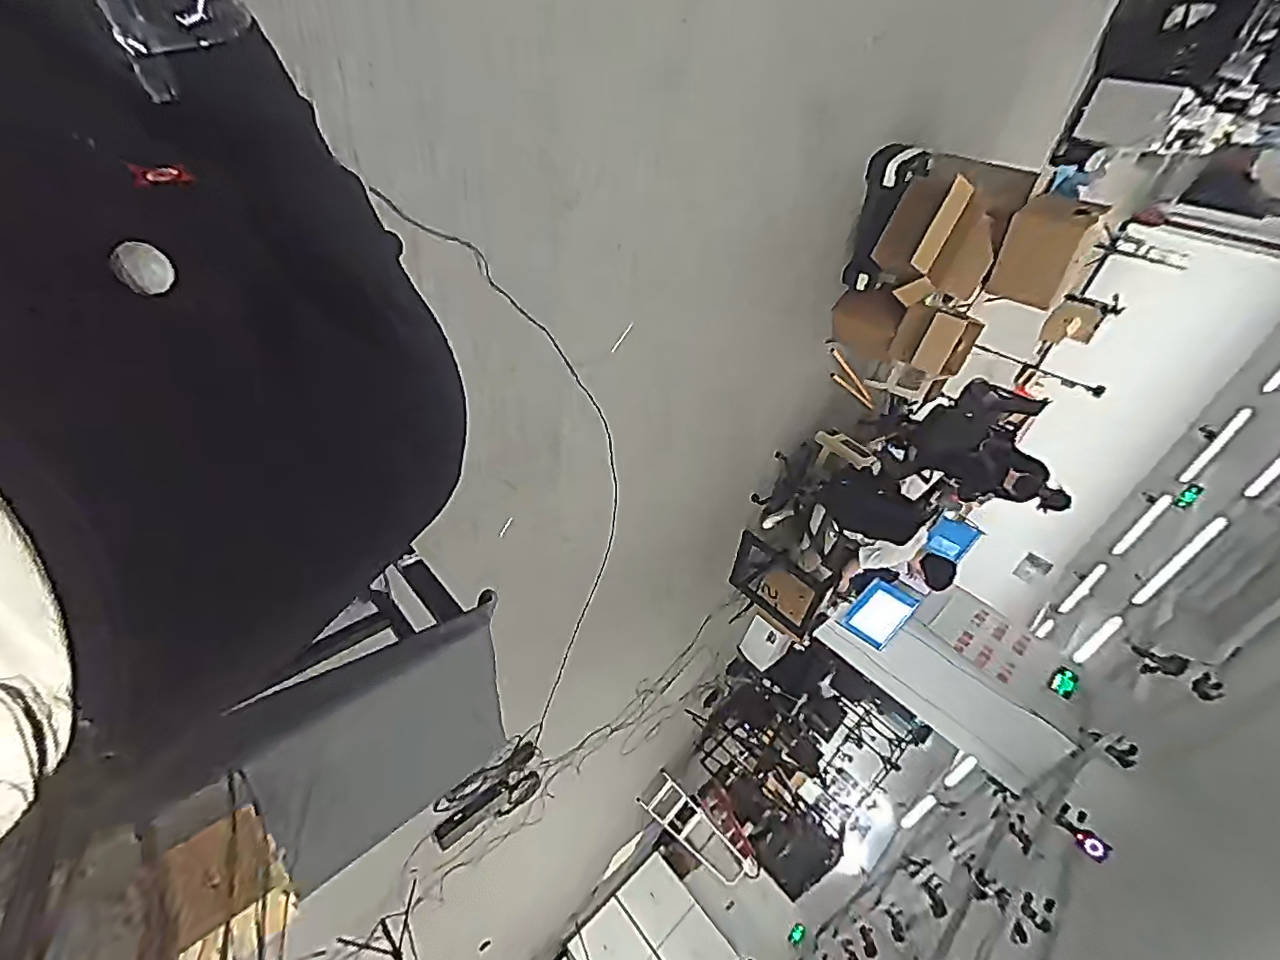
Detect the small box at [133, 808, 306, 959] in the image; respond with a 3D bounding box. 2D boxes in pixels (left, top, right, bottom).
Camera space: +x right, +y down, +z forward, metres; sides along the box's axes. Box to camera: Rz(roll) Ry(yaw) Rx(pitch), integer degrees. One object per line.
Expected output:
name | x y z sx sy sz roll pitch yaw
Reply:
small box | -0.723 0.718 0.939 0.179 0.176 0.168 -27 142 -35
